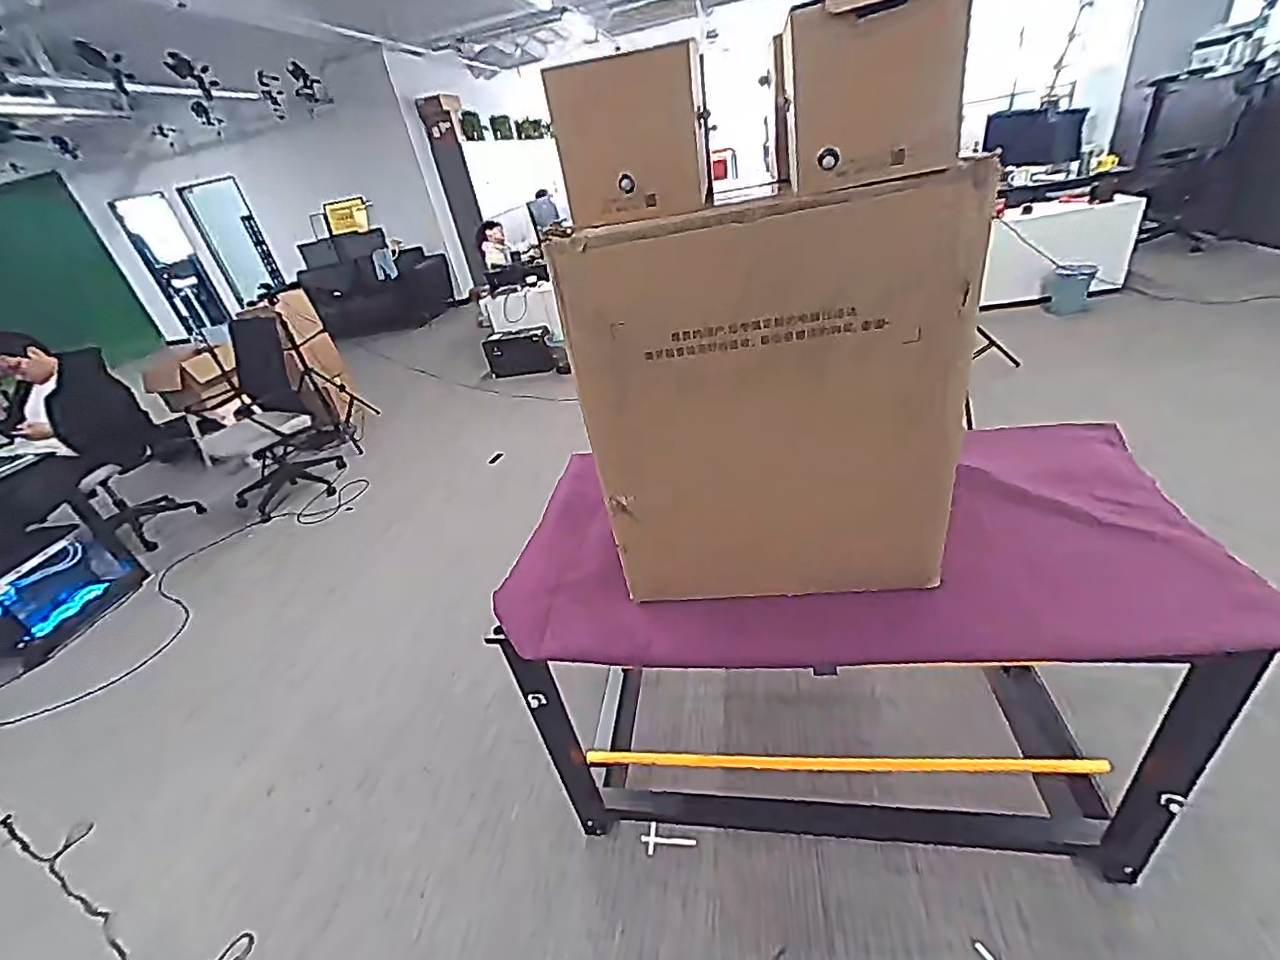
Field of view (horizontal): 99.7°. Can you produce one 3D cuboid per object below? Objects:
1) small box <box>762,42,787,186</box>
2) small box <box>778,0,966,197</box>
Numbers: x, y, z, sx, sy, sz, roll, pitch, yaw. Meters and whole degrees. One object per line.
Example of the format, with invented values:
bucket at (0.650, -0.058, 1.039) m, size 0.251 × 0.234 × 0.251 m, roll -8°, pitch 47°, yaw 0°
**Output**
small box at (0.270, -0.534, 0.776) m, size 0.168 × 0.176 × 0.179 m, roll -6°, pitch 31°, yaw 12°
small box at (0.251, -0.434, 0.616) m, size 0.168 × 0.176 × 0.179 m, roll -5°, pitch 33°, yaw 12°
